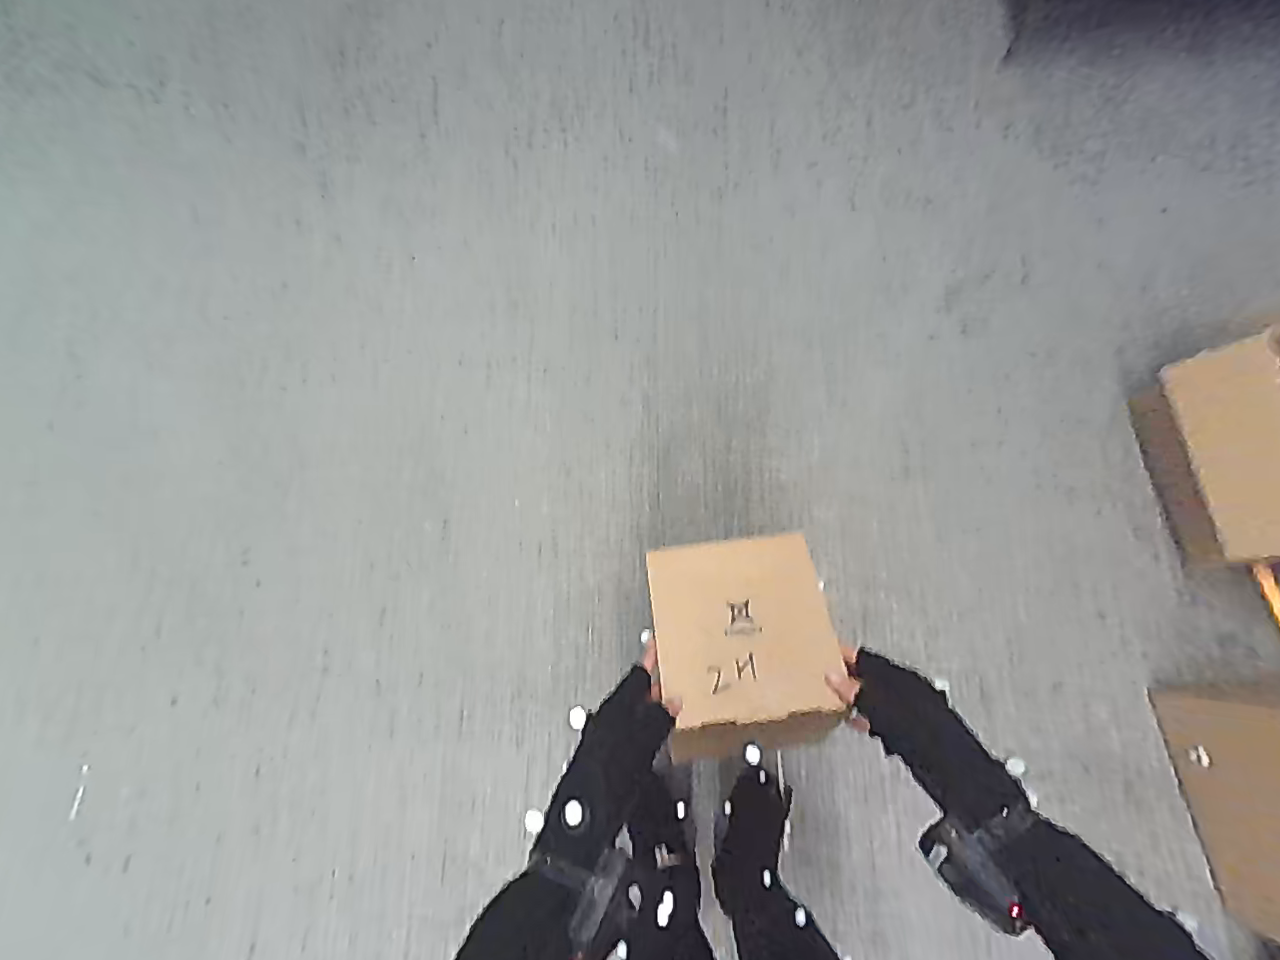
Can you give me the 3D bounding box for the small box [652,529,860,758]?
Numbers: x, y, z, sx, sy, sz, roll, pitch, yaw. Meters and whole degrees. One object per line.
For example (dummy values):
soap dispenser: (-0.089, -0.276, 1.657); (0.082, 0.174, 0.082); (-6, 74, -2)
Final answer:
small box: (0.103, 0.174, 0.567); (0.168, 0.176, 0.179); (-7, 54, 1)
